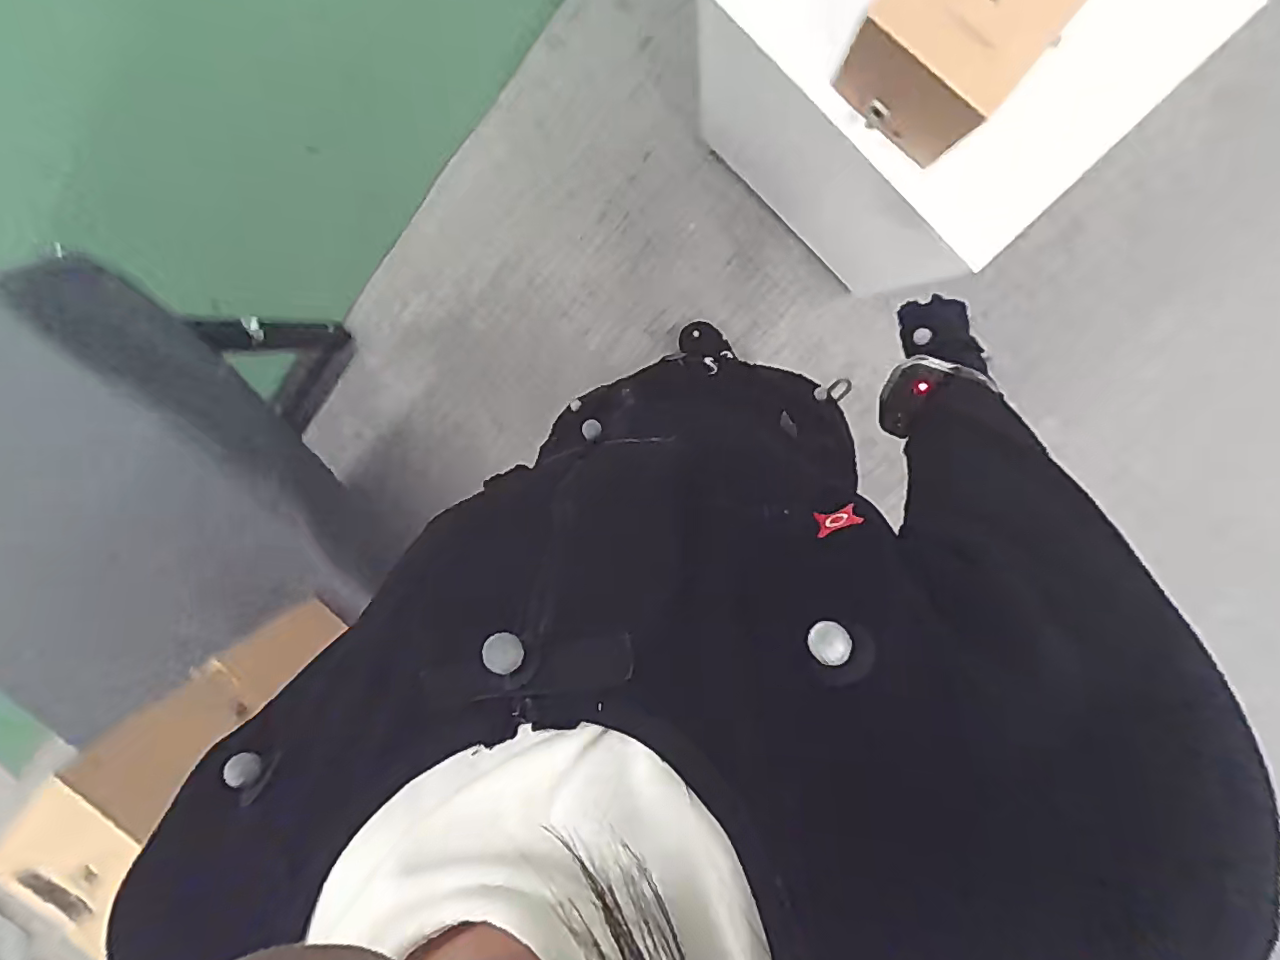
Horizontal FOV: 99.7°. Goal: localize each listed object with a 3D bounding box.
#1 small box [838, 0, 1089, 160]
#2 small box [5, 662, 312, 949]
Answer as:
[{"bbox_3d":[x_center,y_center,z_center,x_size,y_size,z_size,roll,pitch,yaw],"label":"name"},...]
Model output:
[{"bbox_3d":[0.337,-0.485,0.569,0.168,0.176,0.179,38,108,-2],"label":"small box"},{"bbox_3d":[-0.510,0.343,0.595,0.168,0.176,0.179,41,109,-3],"label":"small box"}]
